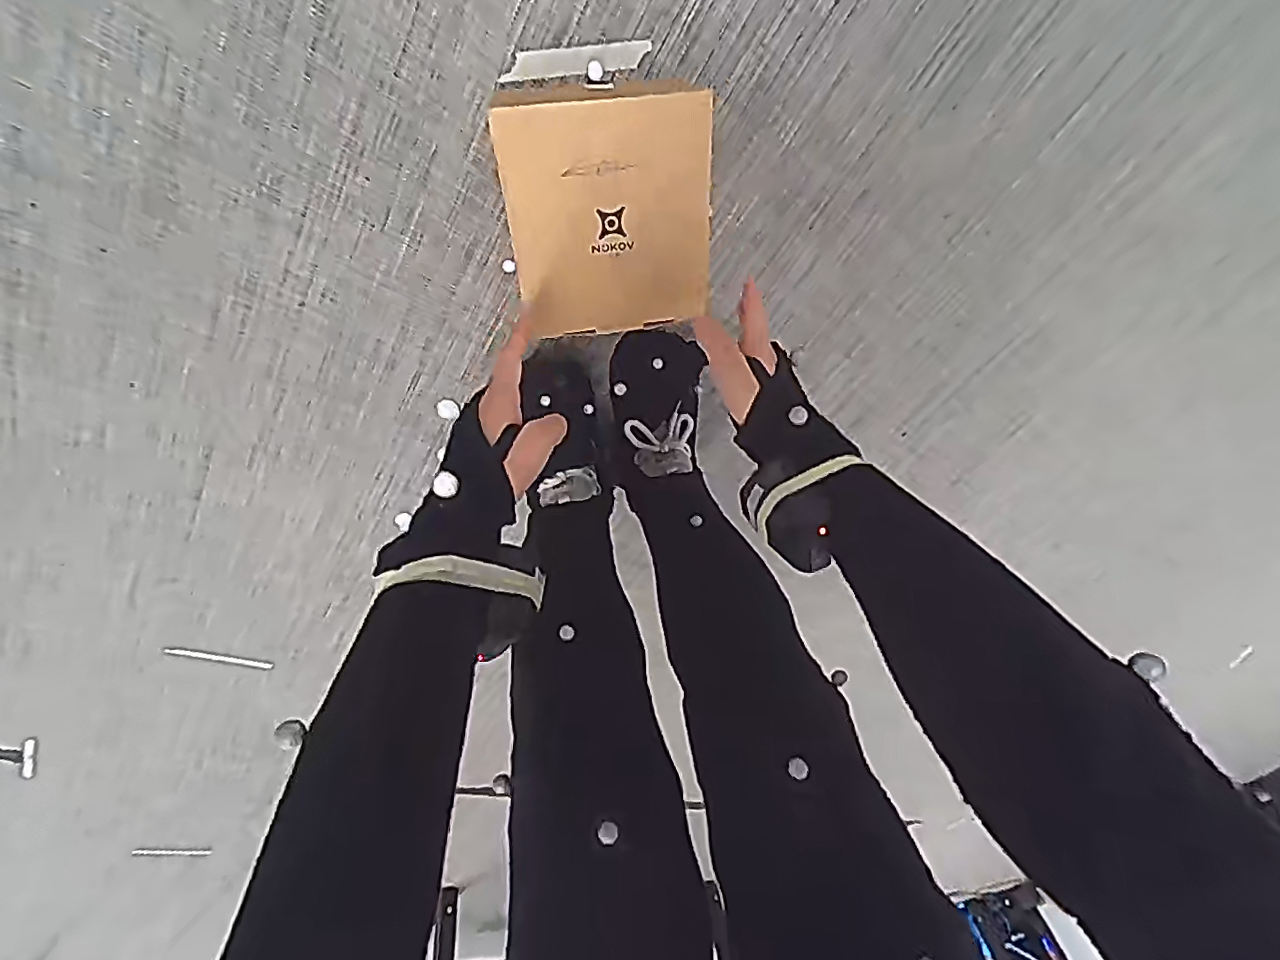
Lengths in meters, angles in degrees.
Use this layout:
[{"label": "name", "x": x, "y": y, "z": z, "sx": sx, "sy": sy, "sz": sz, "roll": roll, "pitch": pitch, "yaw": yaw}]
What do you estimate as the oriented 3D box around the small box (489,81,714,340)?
[{"label": "small box", "x": -0.036, "y": -0.253, "z": 0.501, "sx": 0.168, "sy": 0.176, "sz": 0.179, "roll": -10, "pitch": 129, "yaw": -7}]
